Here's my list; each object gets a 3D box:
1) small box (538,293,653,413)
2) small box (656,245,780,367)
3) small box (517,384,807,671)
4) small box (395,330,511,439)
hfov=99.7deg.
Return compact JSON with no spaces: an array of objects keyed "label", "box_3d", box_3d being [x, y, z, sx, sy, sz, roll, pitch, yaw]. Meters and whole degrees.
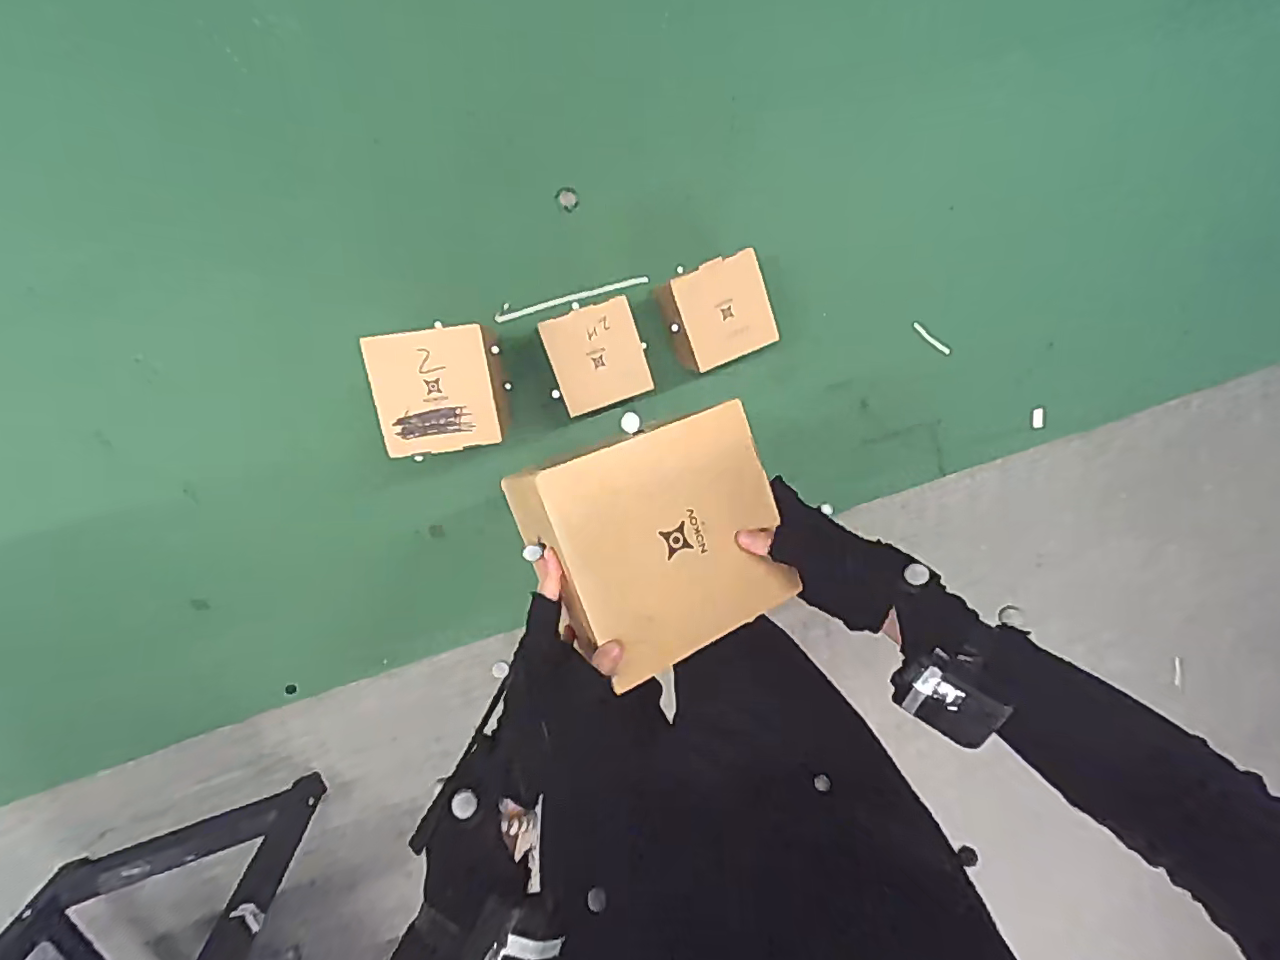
[{"label":"small box","box_3d":[-0.087,-0.244,1.033,0.168,0.176,0.179,-20,107,-5]},{"label":"small box","box_3d":[0.144,-0.331,1.054,0.168,0.176,0.179,-22,108,-4]},{"label":"small box","box_3d":[0.004,0.033,0.469,0.179,0.176,0.168,-22,96,-22]},{"label":"small box","box_3d":[-0.336,-0.183,1.003,0.168,0.176,0.179,-7,107,-8]}]
